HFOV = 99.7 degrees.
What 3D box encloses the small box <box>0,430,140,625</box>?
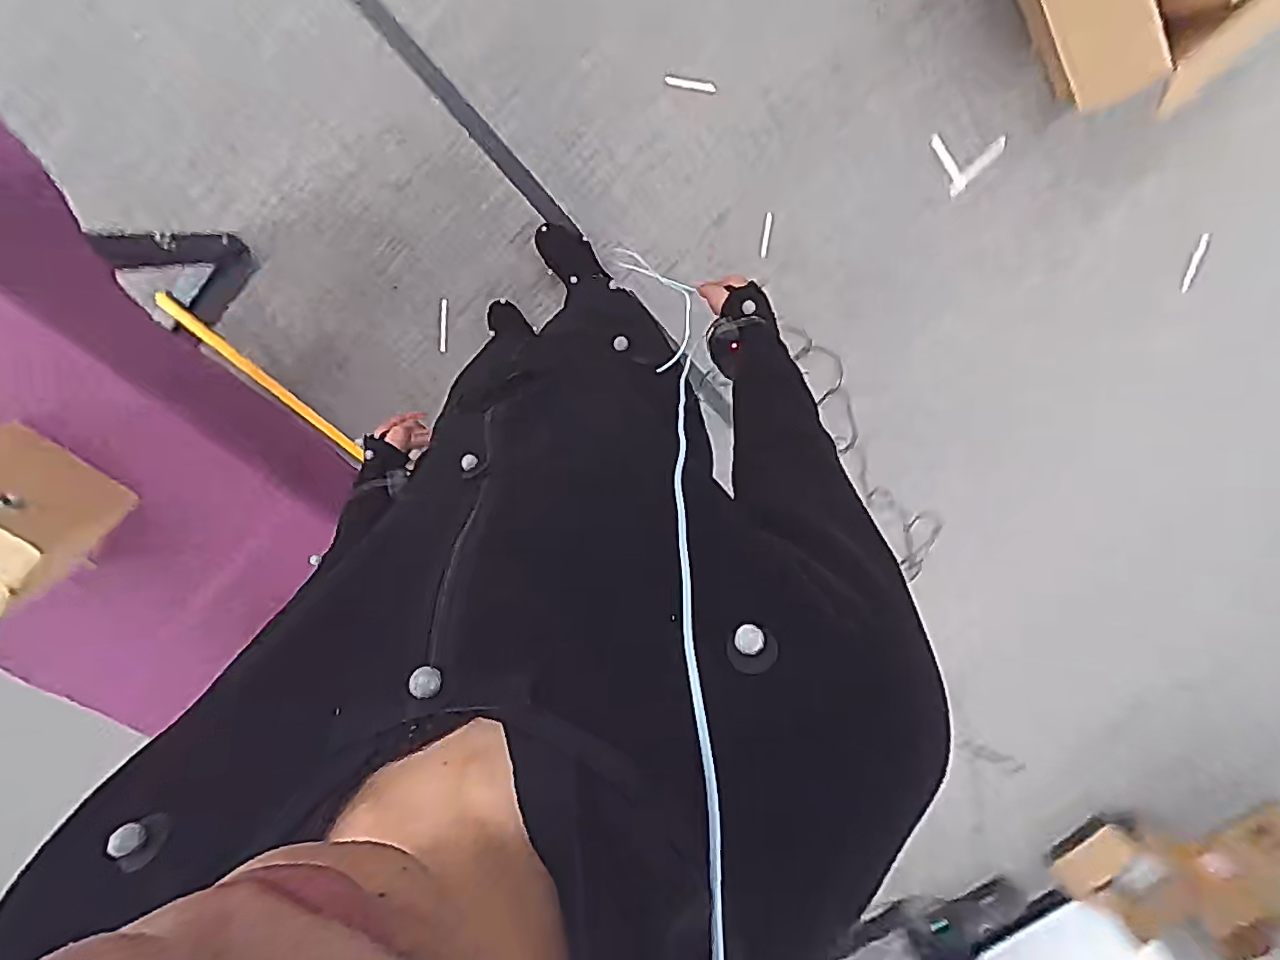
[{"bbox_3d":[-0.869,0.058,0.750,0.168,0.176,0.179,-42,111,13],"label":"small box"}]
